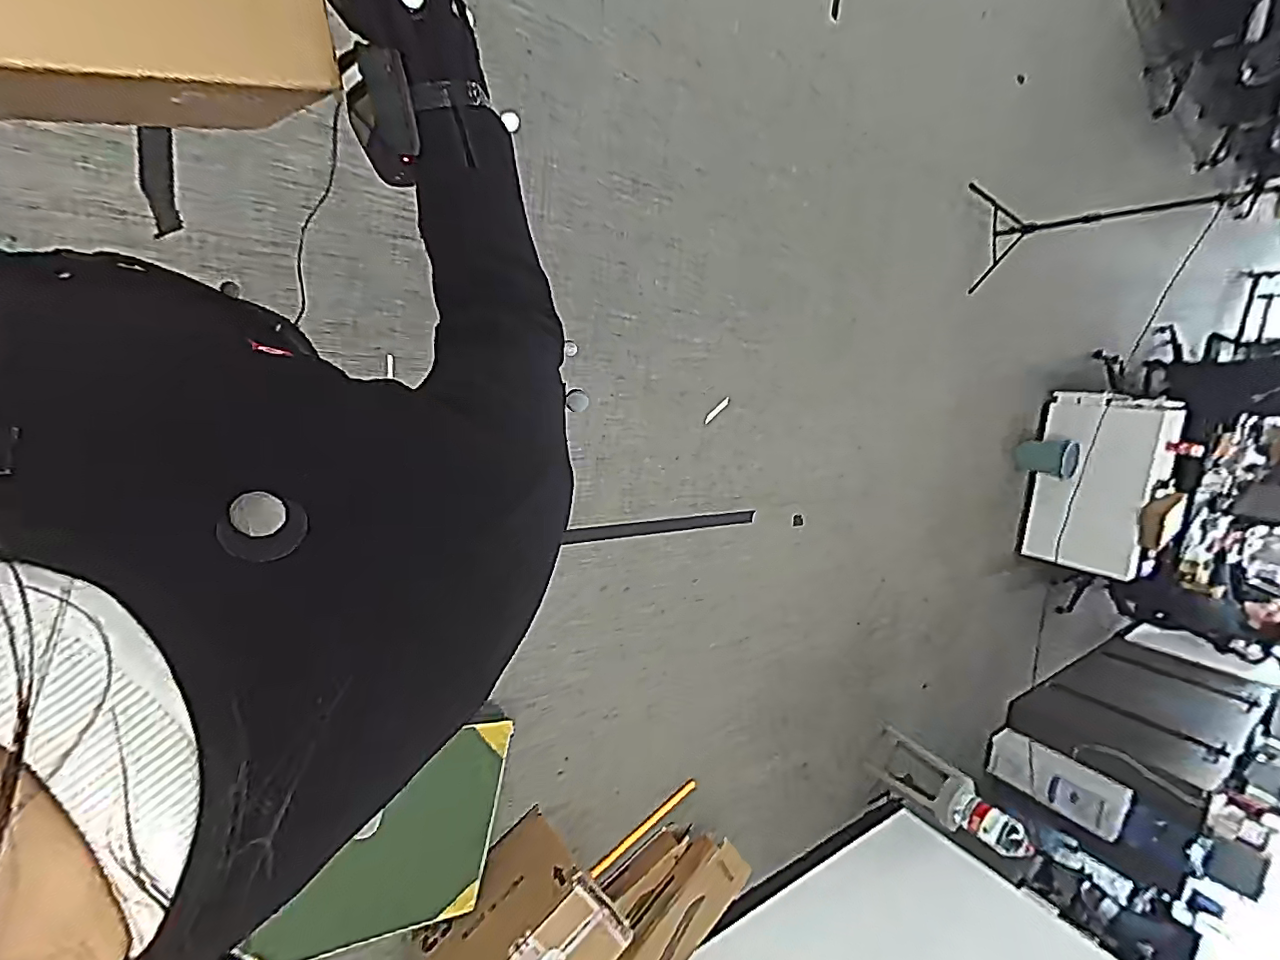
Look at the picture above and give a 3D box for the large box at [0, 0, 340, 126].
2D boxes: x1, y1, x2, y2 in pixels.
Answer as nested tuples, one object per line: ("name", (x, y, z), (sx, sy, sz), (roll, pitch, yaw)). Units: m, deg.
("large box", (-0.442, -0.373, 0.266), (0.408, 0.320, 0.320), (-23, 127, -34))
